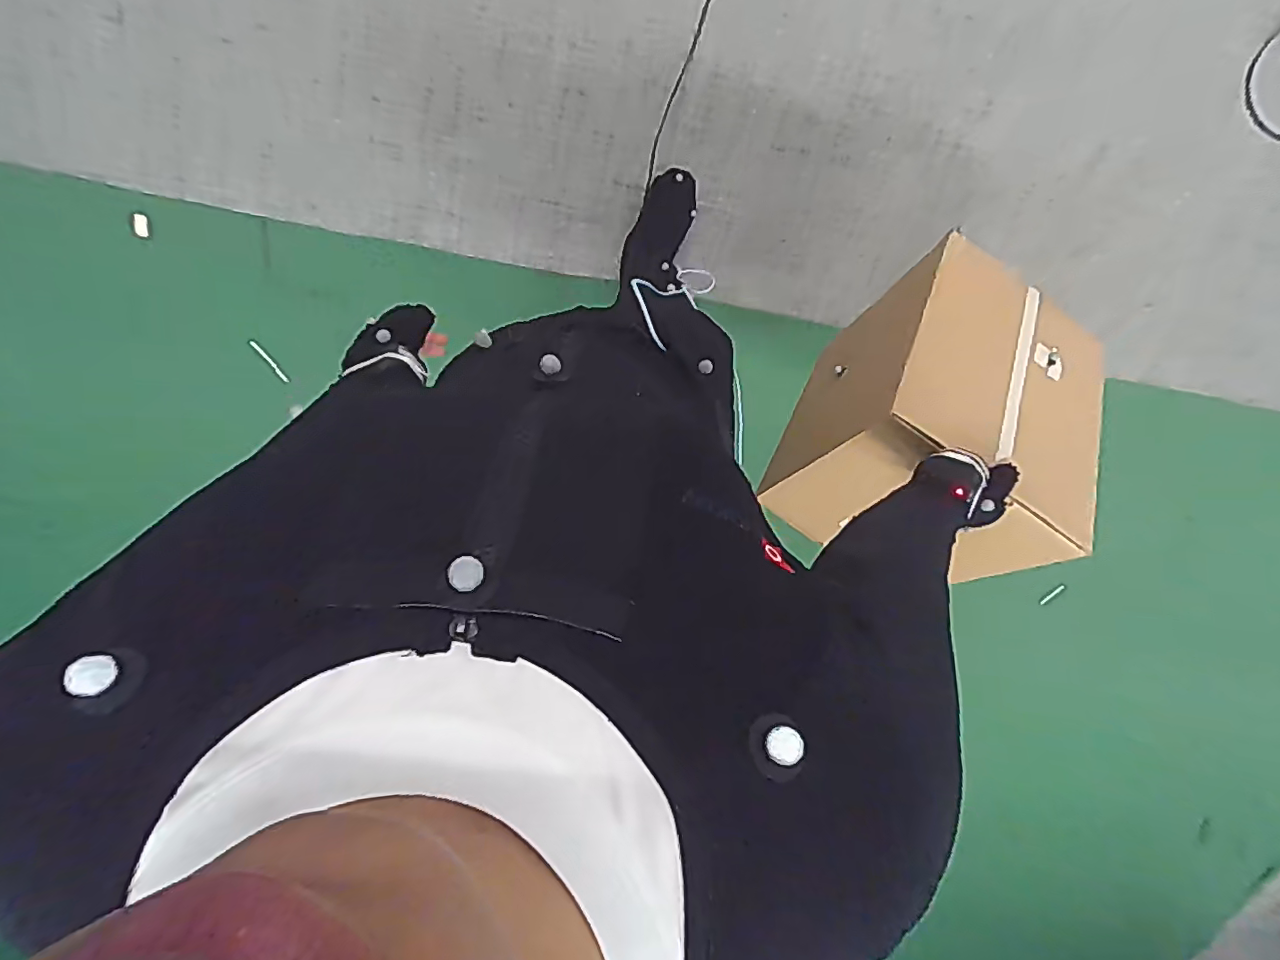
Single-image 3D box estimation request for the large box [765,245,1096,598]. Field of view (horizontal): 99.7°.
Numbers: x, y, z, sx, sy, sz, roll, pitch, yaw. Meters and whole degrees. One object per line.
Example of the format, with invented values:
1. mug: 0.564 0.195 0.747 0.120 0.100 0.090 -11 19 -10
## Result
1. large box: 0.462 -0.077 0.879 0.320 0.408 0.320 34 151 -5
